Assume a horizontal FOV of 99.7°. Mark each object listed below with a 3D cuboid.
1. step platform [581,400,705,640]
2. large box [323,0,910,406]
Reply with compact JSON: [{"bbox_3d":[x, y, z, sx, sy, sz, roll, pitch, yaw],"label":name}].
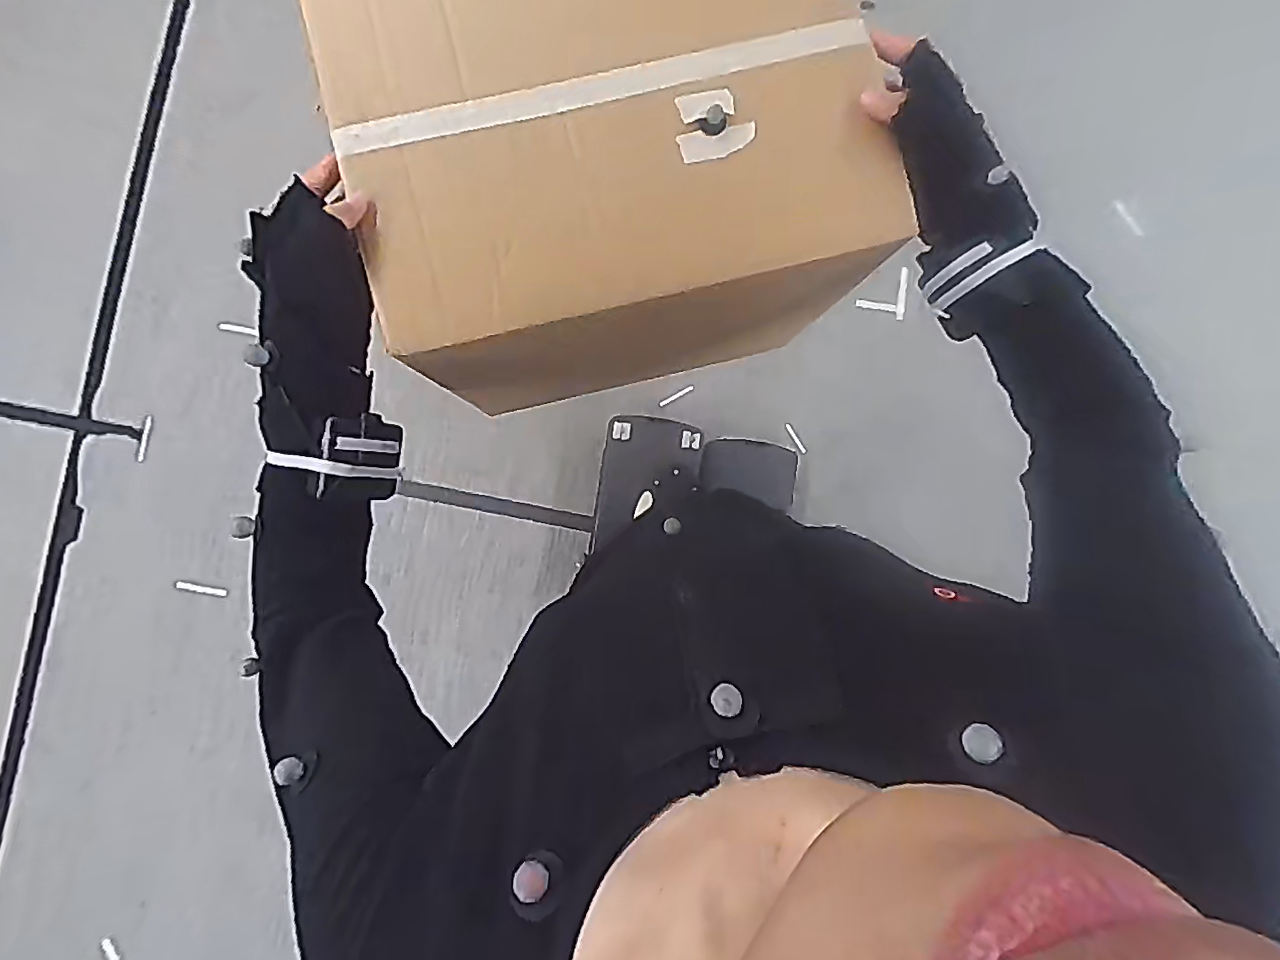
[{"bbox_3d":[0.009,0.113,1.585,0.286,0.204,0.684,8,86,-1],"label":"step platform"},{"bbox_3d":[-0.026,-0.293,0.560,0.408,0.320,0.320,-14,90,-4],"label":"large box"}]
